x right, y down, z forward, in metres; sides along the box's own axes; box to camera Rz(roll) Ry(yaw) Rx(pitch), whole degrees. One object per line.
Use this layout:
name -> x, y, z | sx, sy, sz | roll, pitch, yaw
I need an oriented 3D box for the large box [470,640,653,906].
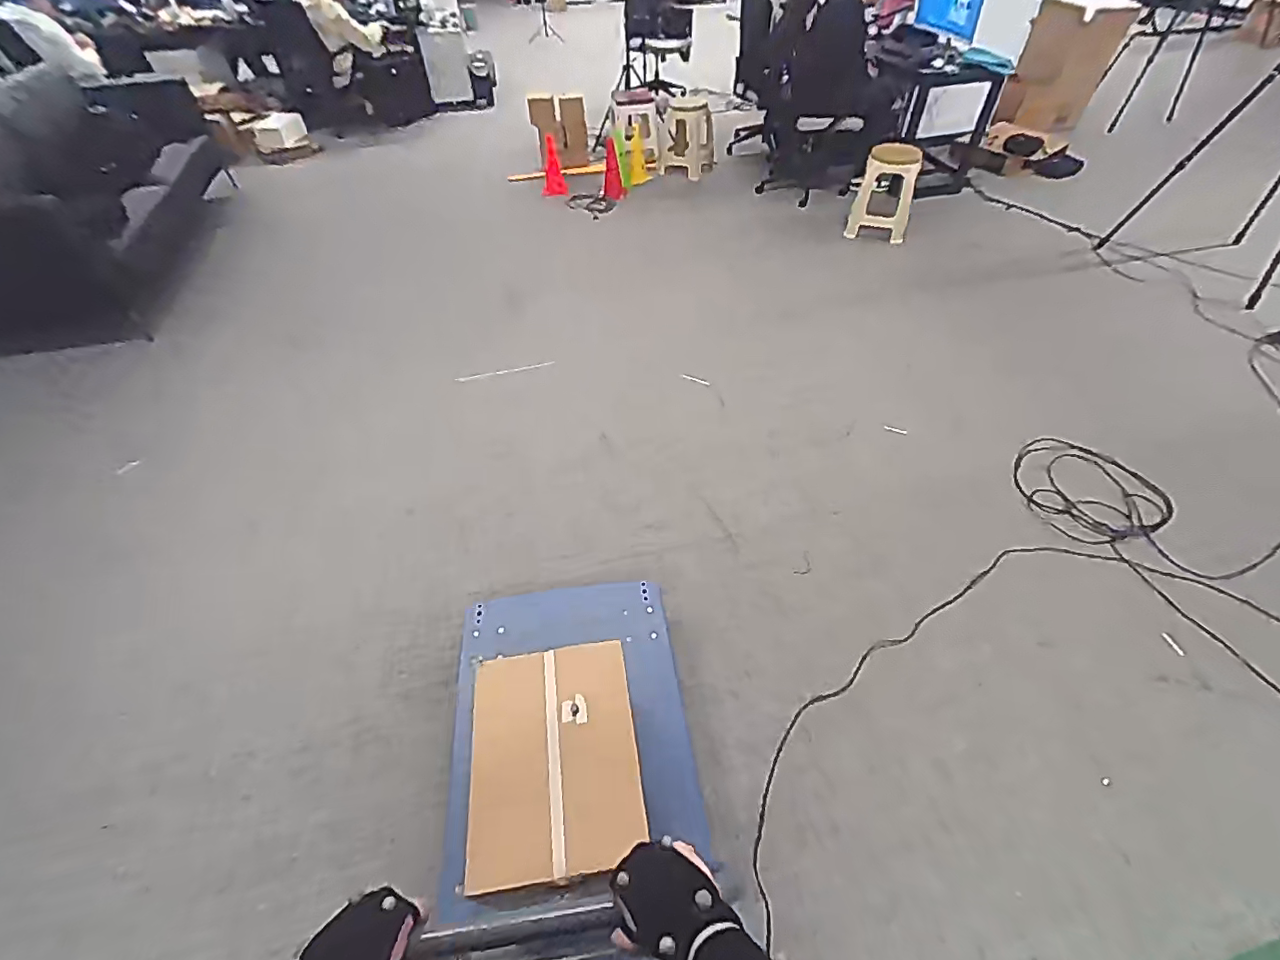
large box -> -0.160, 0.616, 1.151 | 0.320, 0.320, 0.408 | -7, 48, -5
